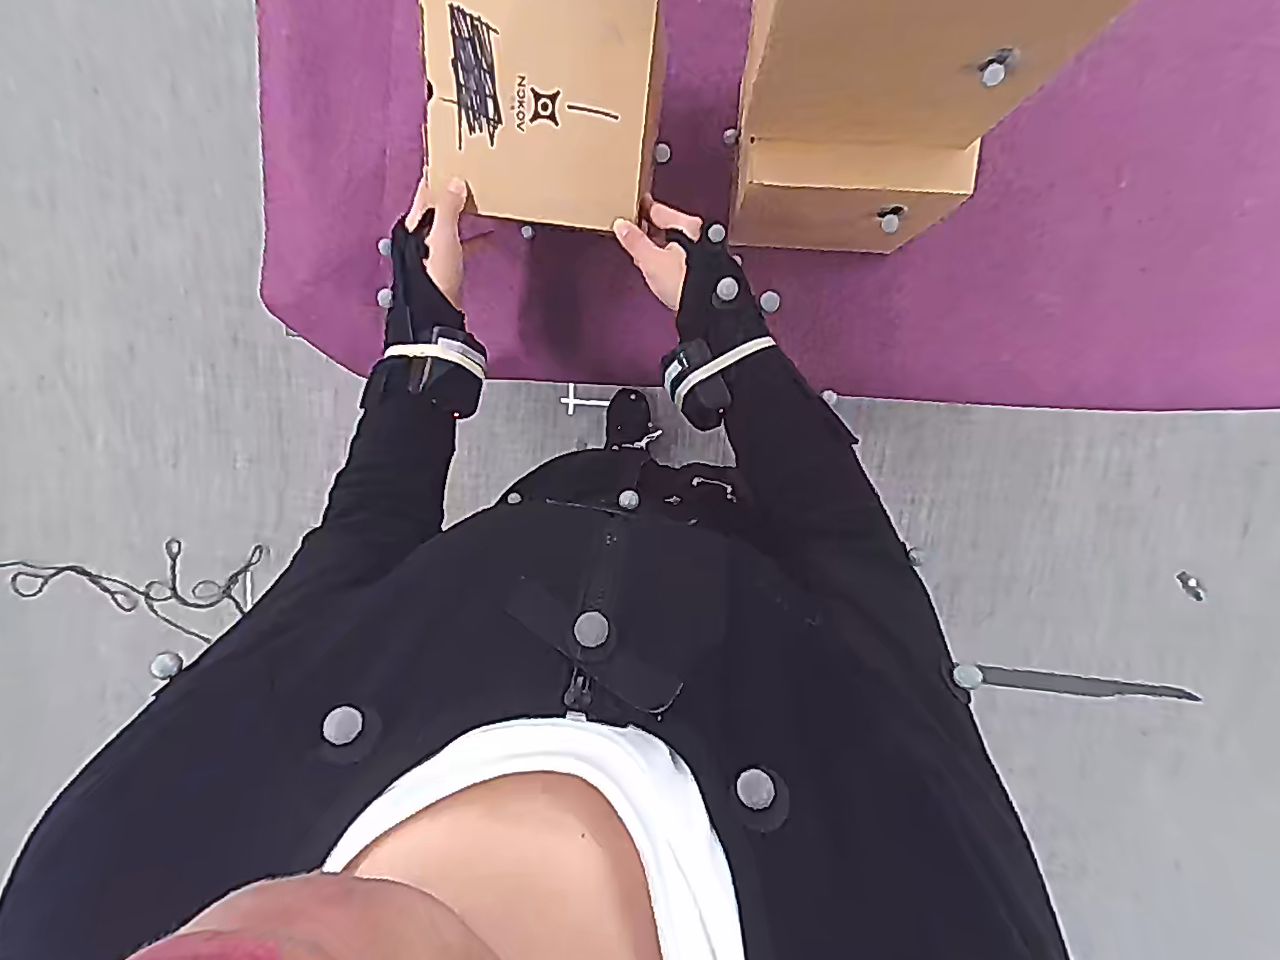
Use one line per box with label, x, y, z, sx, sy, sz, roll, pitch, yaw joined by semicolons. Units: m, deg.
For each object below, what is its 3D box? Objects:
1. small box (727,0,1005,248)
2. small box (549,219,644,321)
small box;0.181;-0.320;0.486;0.179;0.176;0.168;5;97;2
small box;-0.084;-0.426;1.118;0.179;0.176;0.168;3;100;3
